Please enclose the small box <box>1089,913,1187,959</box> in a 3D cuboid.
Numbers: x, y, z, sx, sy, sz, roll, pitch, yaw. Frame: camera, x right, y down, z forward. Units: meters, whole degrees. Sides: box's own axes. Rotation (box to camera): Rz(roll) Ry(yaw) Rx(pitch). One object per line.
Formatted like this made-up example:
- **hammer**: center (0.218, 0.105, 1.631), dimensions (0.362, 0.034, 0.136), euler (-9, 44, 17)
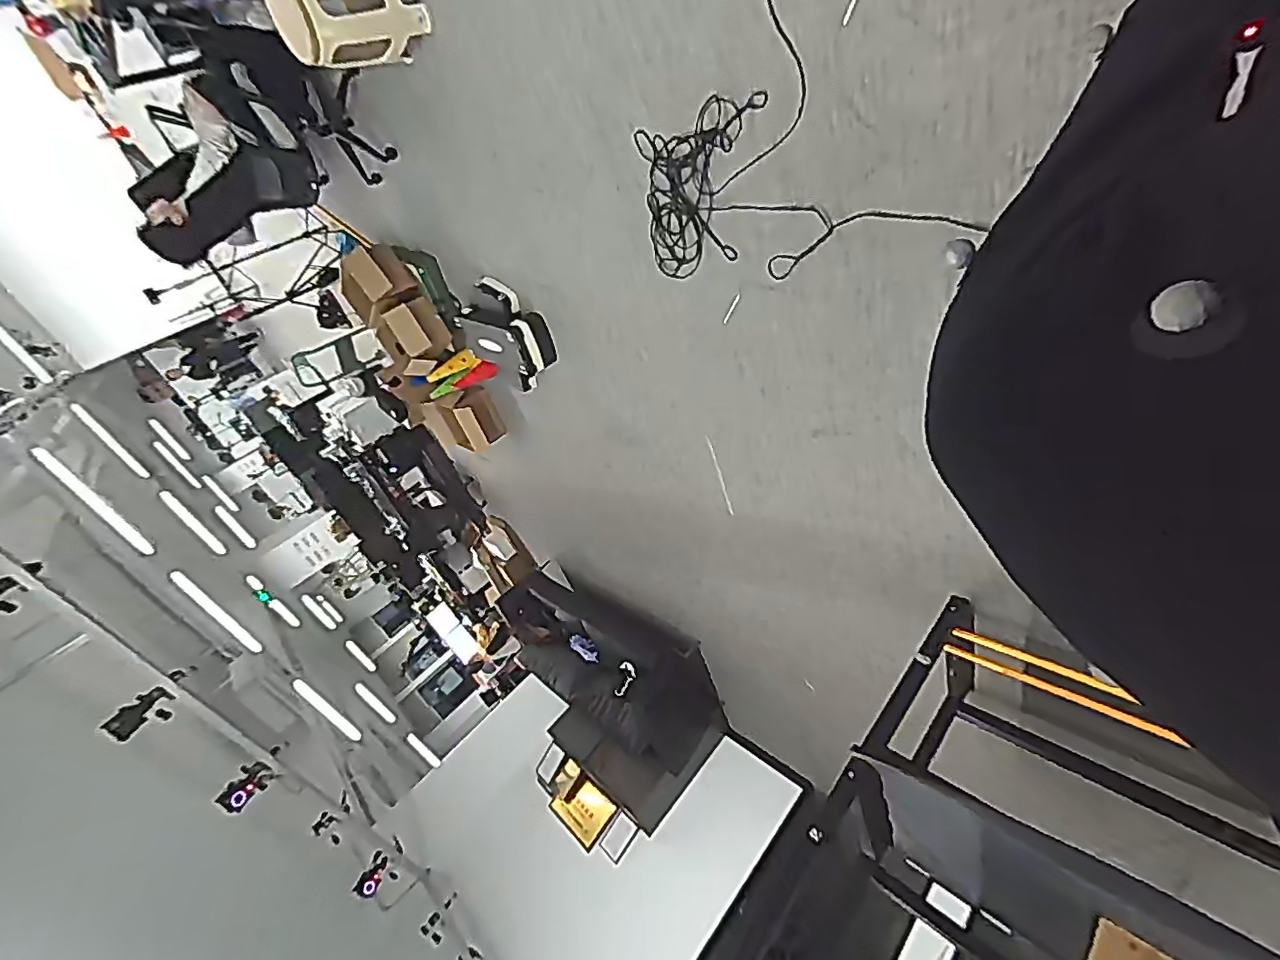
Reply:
- **small box**: center (1.148, 1.163, 1.246), dimensions (0.168, 0.176, 0.179), euler (14, 137, 47)
